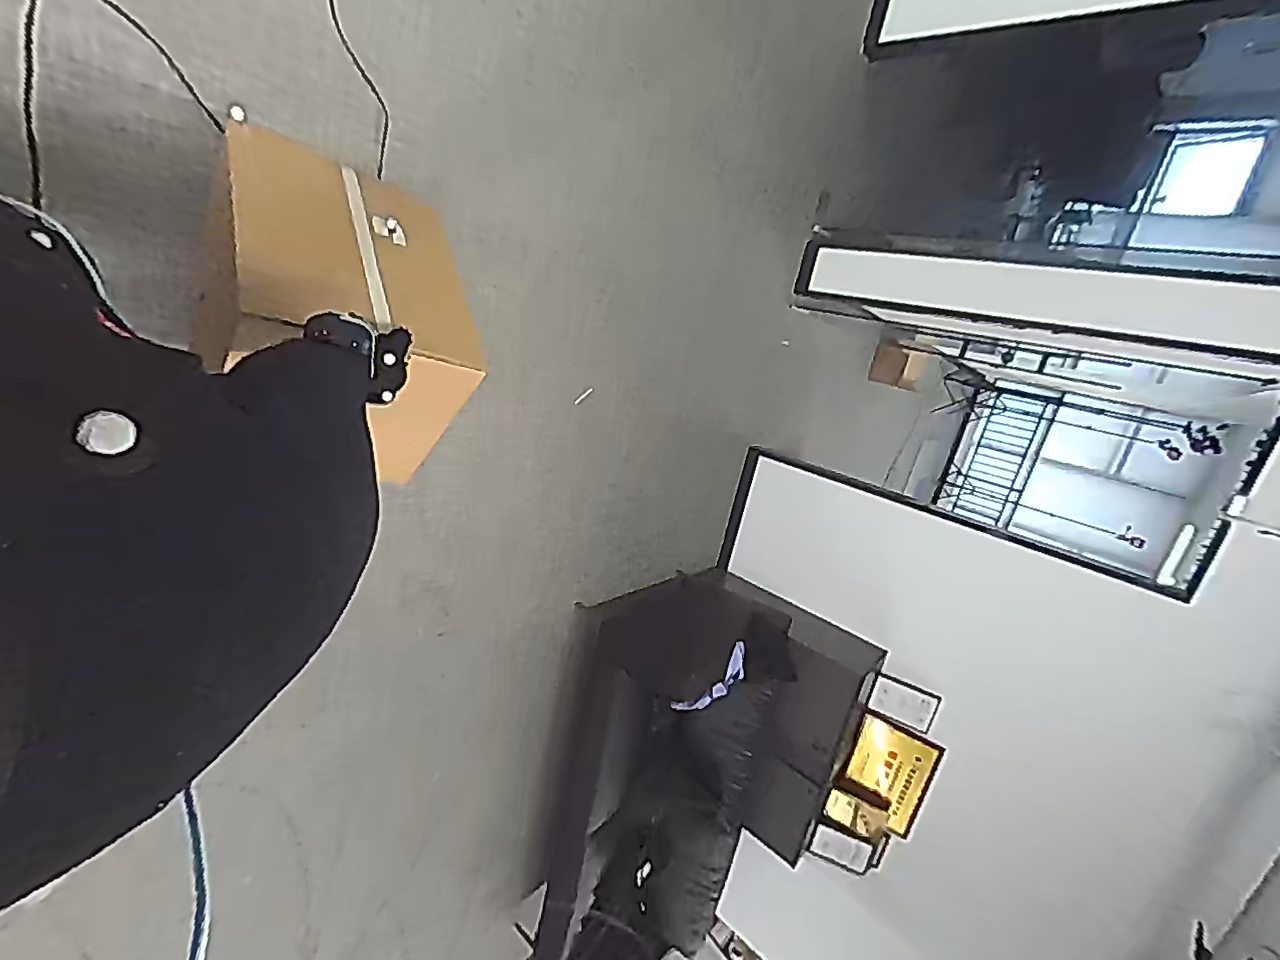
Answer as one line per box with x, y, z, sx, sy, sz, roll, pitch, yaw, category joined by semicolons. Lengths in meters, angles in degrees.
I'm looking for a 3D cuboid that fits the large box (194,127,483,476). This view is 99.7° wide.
-0.512;-0.255;0.889;0.320;0.408;0.320;6;141;-47;large box
